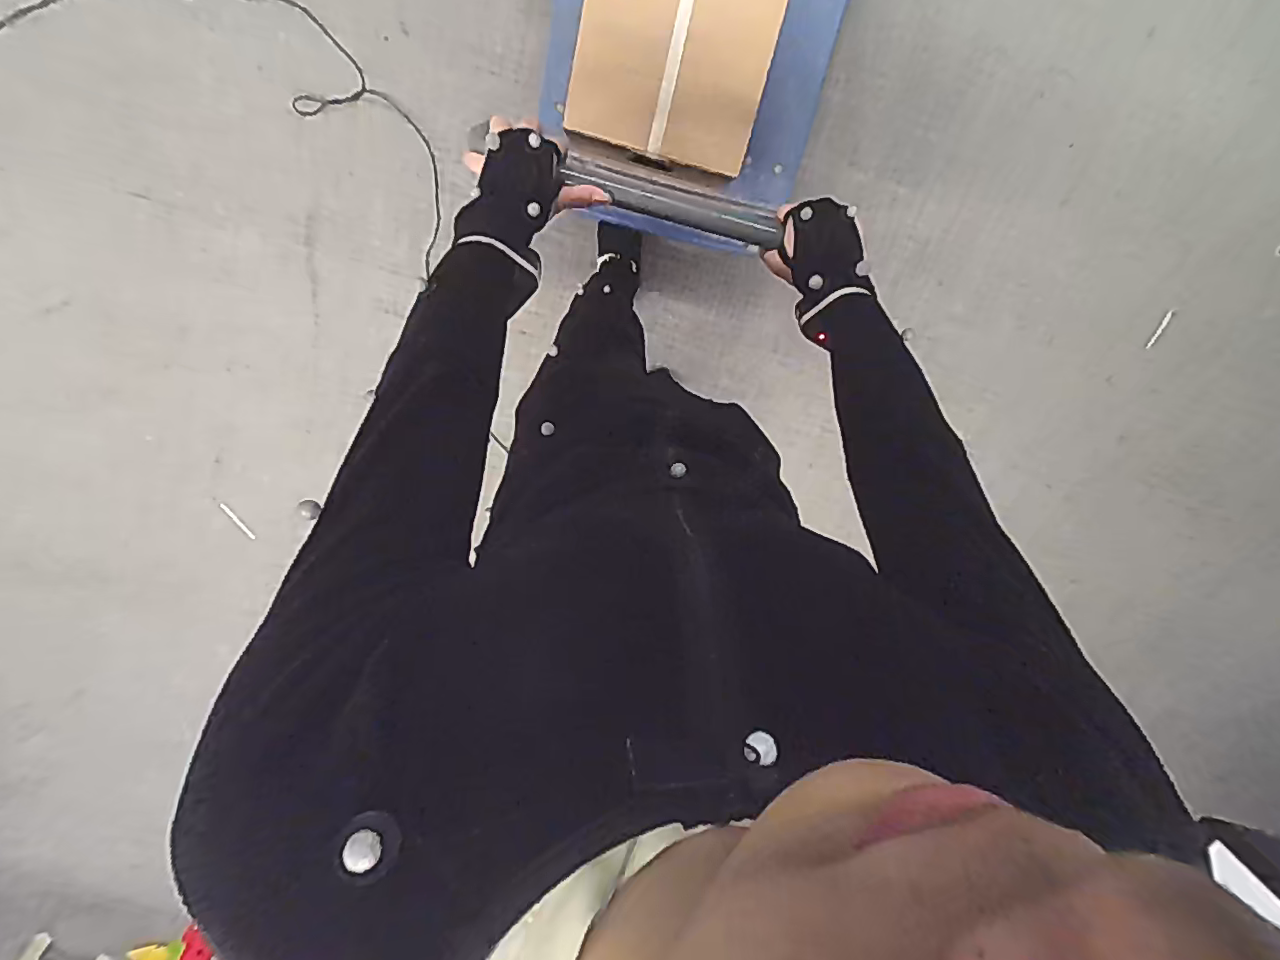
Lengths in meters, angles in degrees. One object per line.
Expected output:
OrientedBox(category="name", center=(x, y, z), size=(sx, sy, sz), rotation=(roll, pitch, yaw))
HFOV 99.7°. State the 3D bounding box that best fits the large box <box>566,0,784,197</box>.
OrientedBox(category="large box", center=(0.066, -0.796, 1.001), size=(0.320, 0.320, 0.408), rotation=(13, 109, -6))
